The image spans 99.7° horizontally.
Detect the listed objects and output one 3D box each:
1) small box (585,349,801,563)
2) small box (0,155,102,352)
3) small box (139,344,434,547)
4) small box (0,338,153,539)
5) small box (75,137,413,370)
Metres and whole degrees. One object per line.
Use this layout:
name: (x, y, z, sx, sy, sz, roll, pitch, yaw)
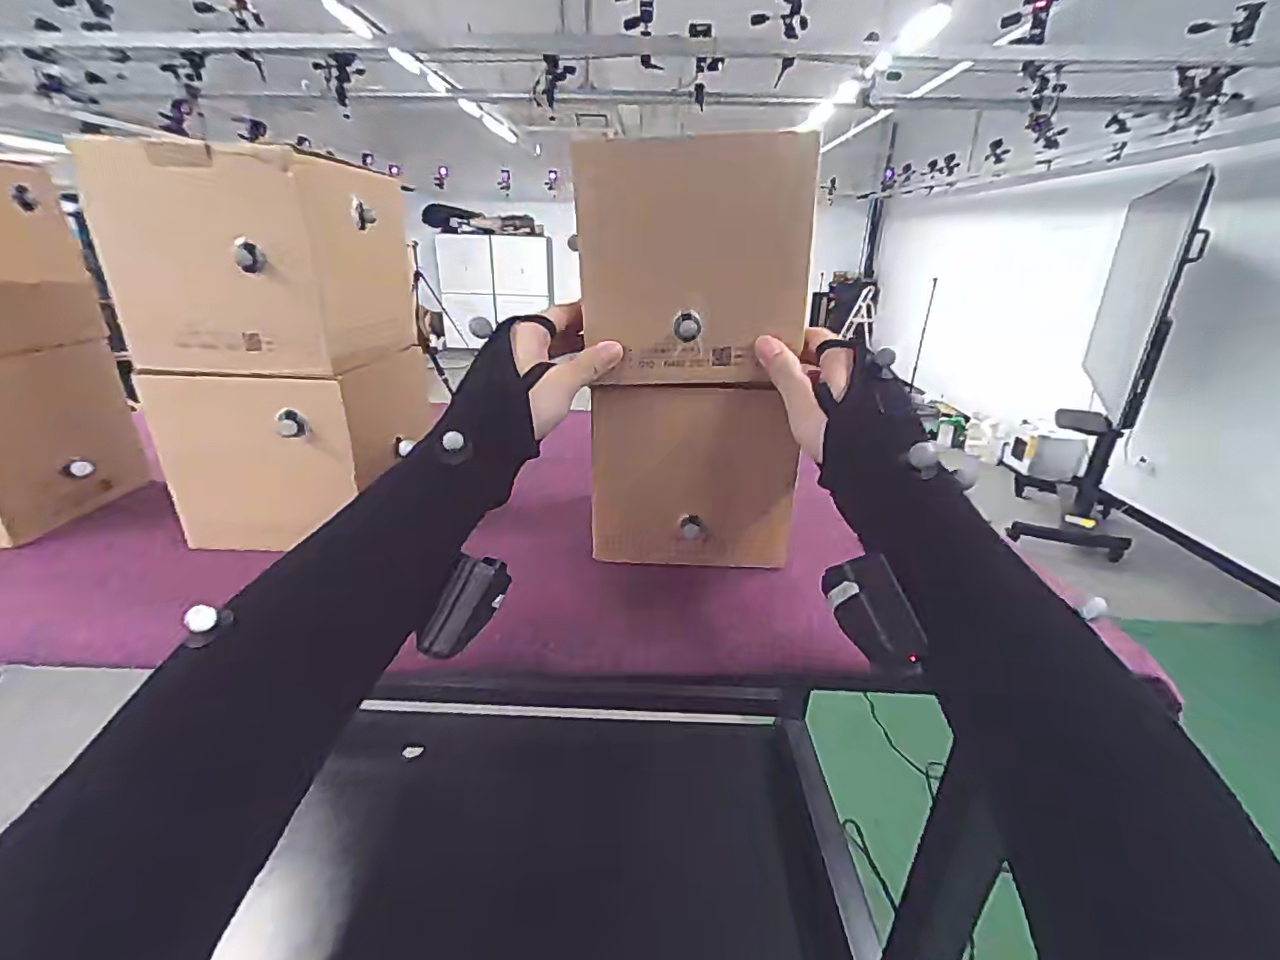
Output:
small box: (0.044, -0.030, 0.534, 0.179, 0.176, 0.168, 2, 21, 2)
small box: (-0.655, -0.200, 0.484, 0.168, 0.176, 0.179, 0, 22, -3)
small box: (-0.327, -0.043, 0.547, 0.179, 0.176, 0.168, 2, 22, 2)
small box: (-0.659, -0.048, 0.542, 0.179, 0.176, 0.168, 2, 23, -2)
small box: (-0.324, -0.197, 0.492, 0.168, 0.176, 0.179, 3, 22, 1)
